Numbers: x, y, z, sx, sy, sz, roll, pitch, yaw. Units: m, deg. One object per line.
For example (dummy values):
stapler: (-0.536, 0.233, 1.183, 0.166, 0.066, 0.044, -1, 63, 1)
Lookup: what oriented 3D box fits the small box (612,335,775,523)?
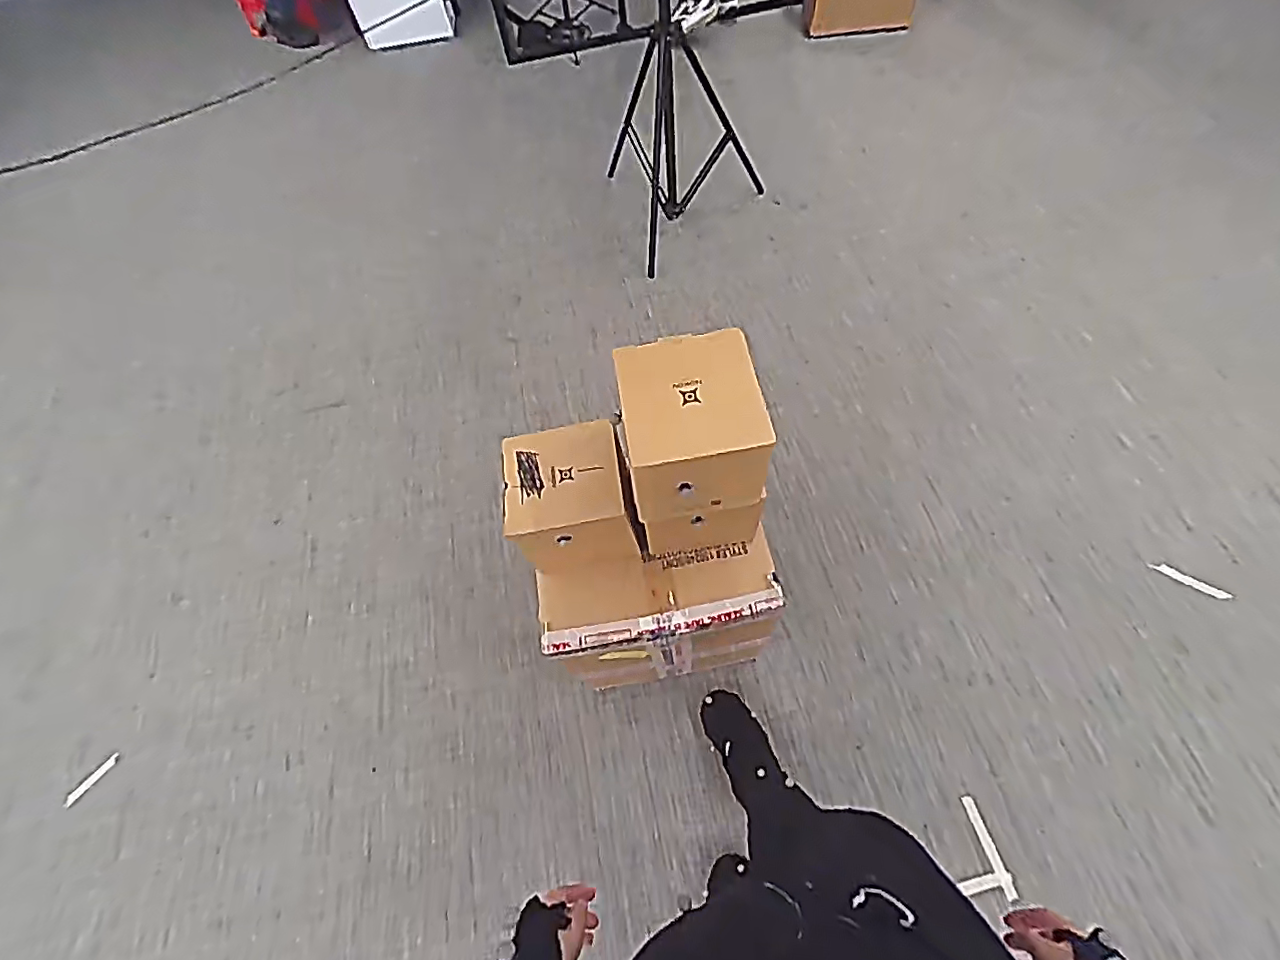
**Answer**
small box: (0.065, -0.055, 0.704, 0.168, 0.176, 0.179, -11, 62, -1)
